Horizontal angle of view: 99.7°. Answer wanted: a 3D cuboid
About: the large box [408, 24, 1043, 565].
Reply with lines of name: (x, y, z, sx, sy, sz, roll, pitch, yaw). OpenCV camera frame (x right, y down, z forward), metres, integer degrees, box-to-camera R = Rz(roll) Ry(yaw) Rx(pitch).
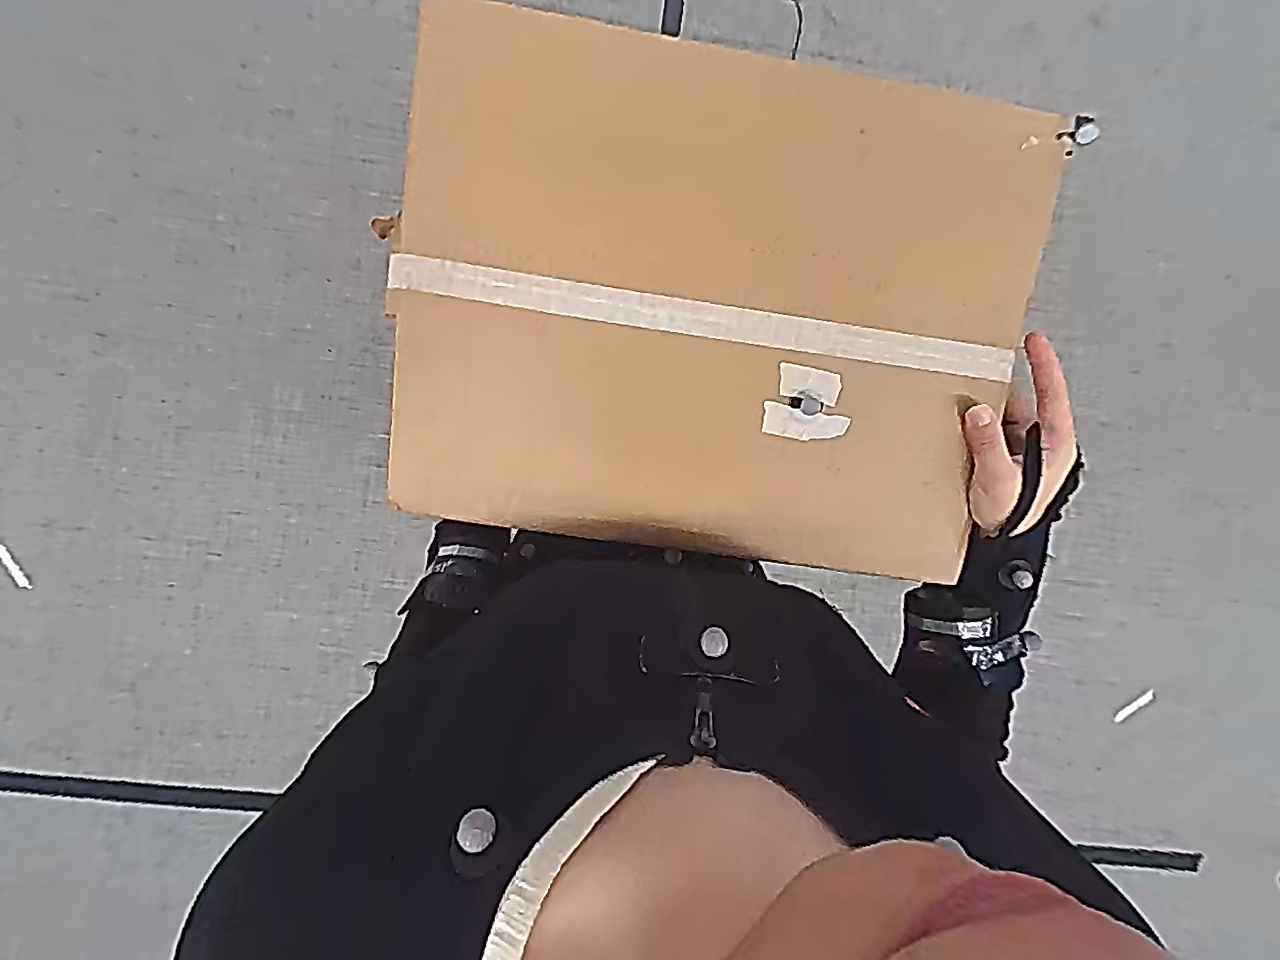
large box: (0.042, -0.130, 0.509, 0.408, 0.320, 0.320, 7, 100, -5)
